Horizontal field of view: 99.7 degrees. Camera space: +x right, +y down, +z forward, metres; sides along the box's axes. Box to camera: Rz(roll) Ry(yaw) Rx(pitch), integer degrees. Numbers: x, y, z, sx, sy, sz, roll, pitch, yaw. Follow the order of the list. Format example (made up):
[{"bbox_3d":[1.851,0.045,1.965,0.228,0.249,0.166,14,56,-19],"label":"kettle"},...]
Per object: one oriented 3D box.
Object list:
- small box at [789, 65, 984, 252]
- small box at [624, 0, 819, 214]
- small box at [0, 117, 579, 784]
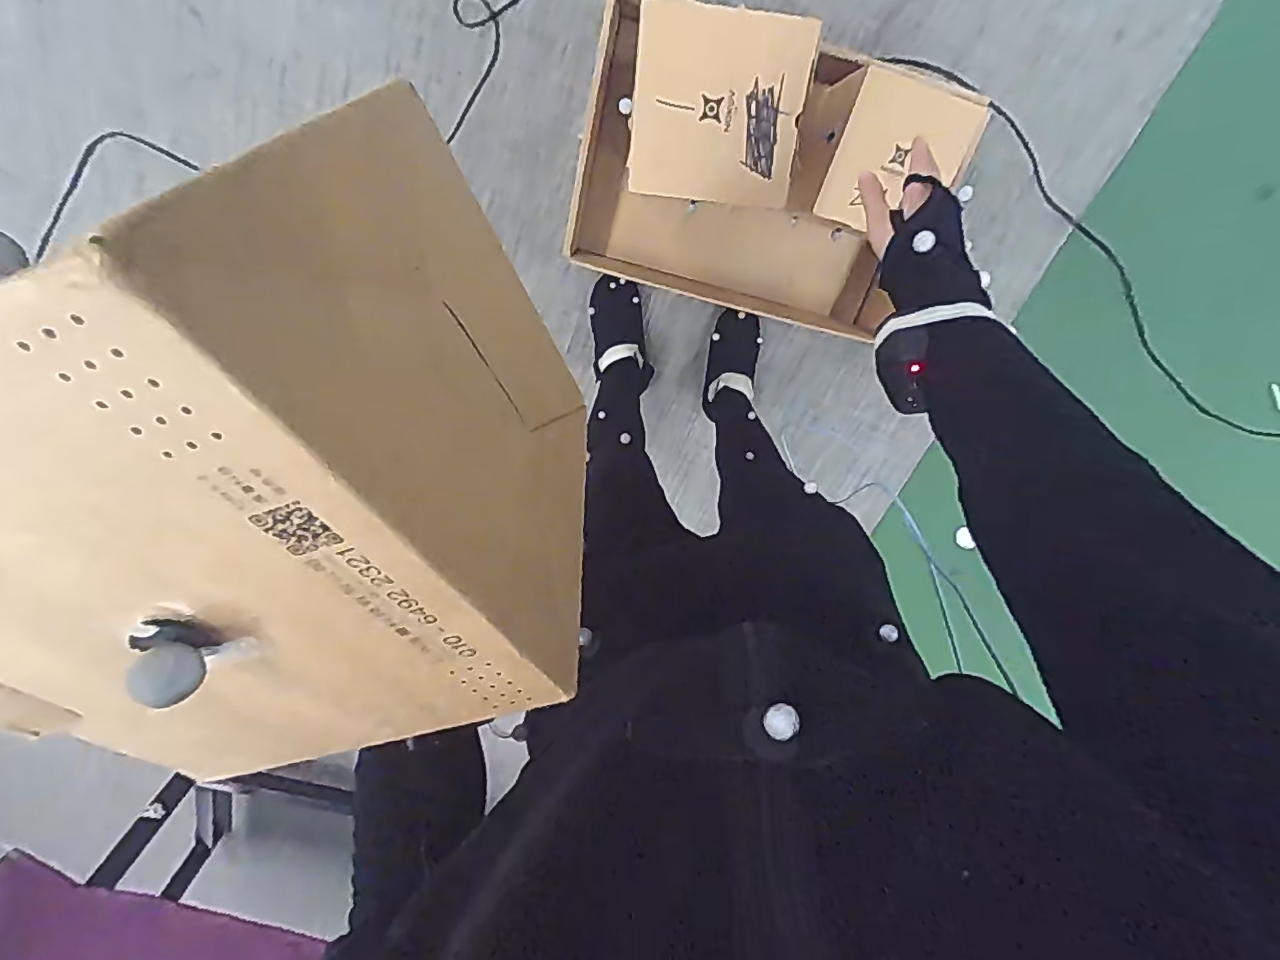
[{"bbox_3d":[0.333,-0.450,0.776,0.168,0.176,0.179,15,118,-7],"label":"small box"},{"bbox_3d":[0.076,-0.409,0.616,0.179,0.176,0.168,5,119,-3],"label":"small box"},{"bbox_3d":[-0.134,-0.009,0.214,0.176,0.179,0.168,-16,133,14],"label":"small box"}]
